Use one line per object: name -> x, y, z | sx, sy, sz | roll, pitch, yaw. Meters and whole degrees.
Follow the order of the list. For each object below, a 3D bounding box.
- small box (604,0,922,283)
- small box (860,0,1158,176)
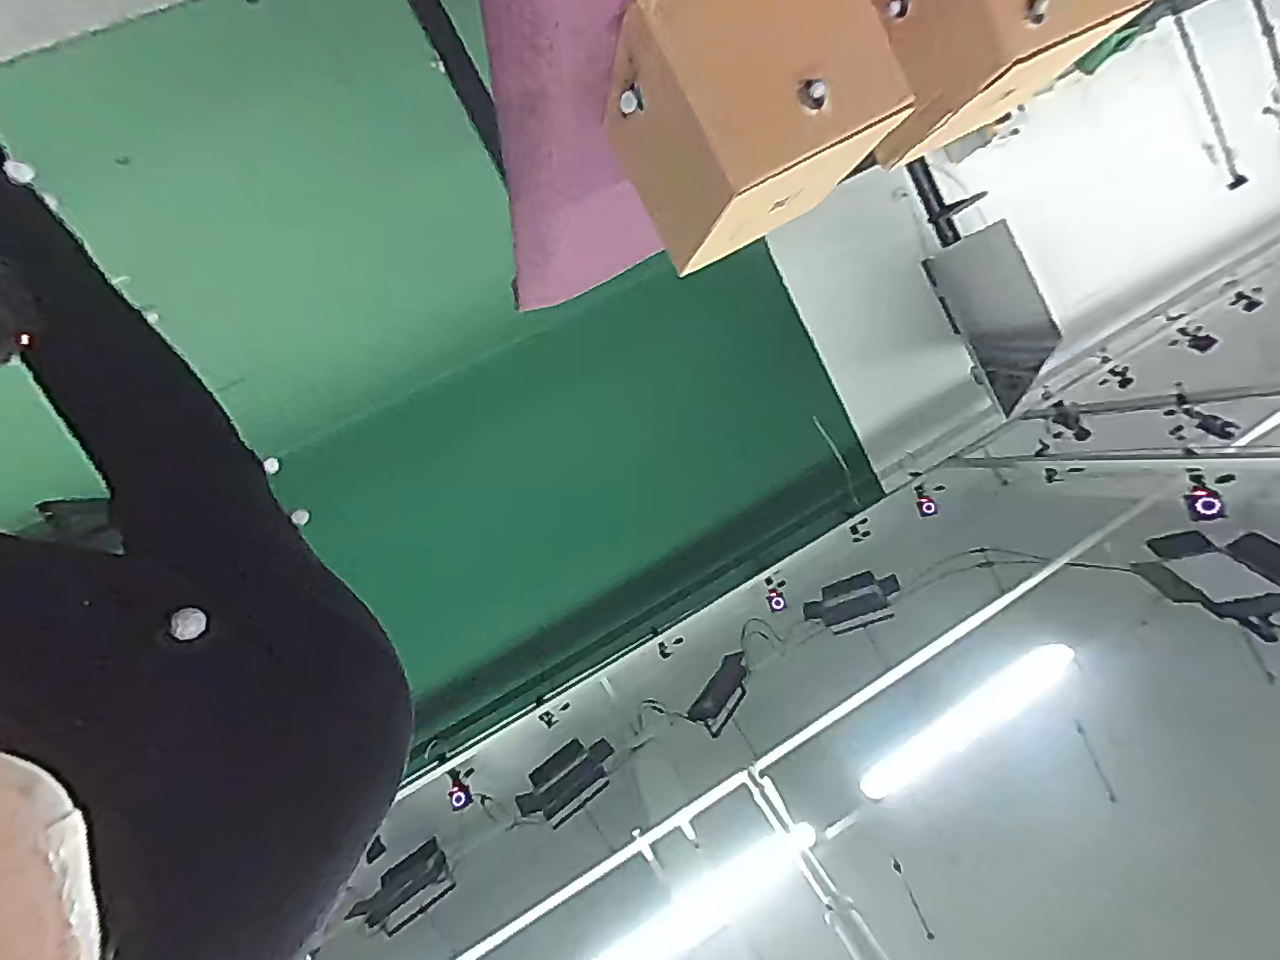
small box -> 0.092, -0.310, 0.471 | 0.179, 0.176, 0.168 | -30, -175, -9
small box -> 0.326, -0.444, 0.523 | 0.179, 0.176, 0.168 | -28, -174, -10
